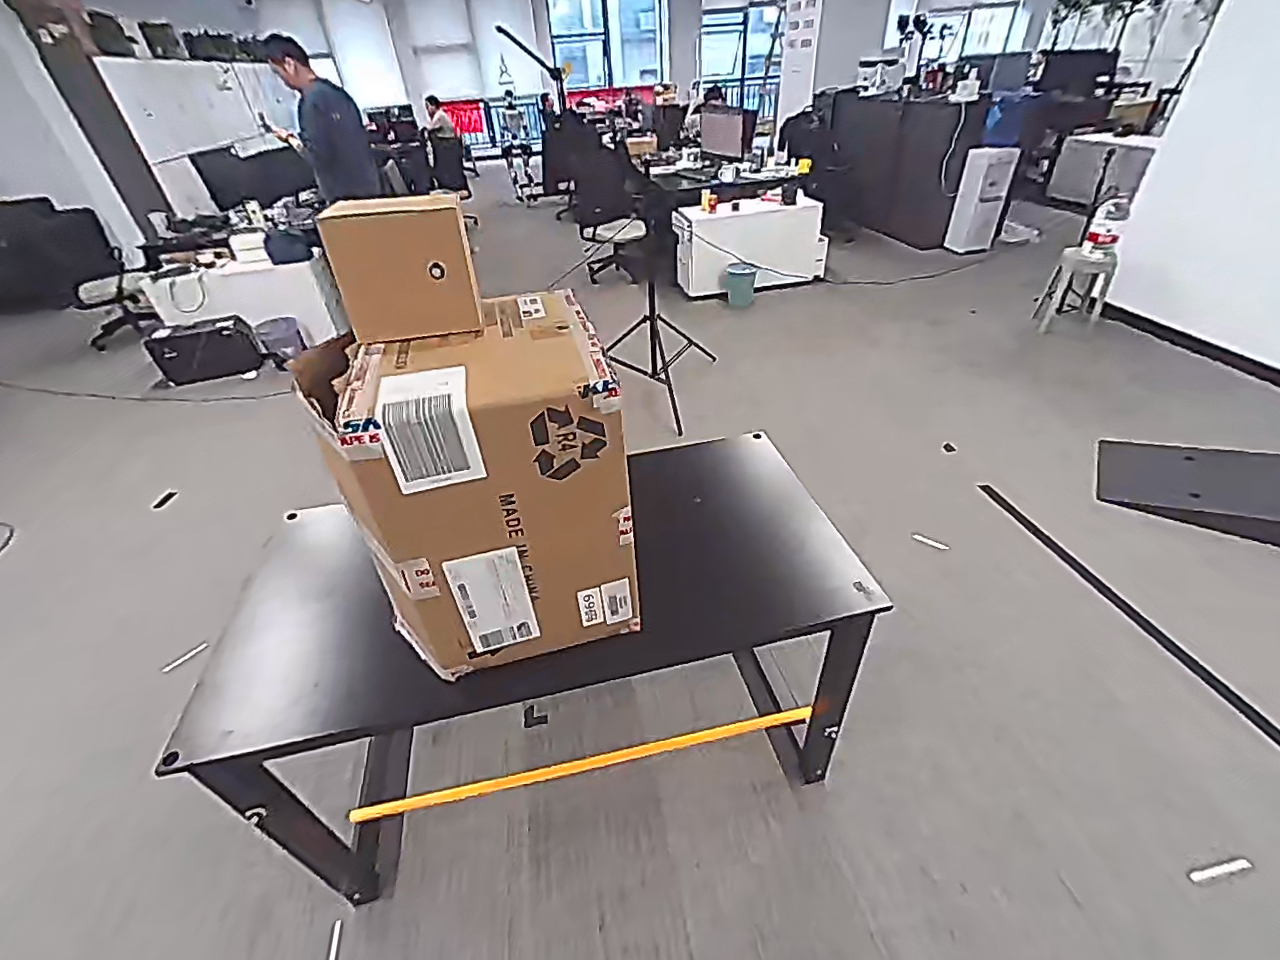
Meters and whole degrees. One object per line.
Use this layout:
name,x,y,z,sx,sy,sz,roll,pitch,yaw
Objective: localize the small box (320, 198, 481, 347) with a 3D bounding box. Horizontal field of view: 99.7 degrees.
small box,-0.340,-0.313,0.810,0.179,0.176,0.168,-11,35,-11
